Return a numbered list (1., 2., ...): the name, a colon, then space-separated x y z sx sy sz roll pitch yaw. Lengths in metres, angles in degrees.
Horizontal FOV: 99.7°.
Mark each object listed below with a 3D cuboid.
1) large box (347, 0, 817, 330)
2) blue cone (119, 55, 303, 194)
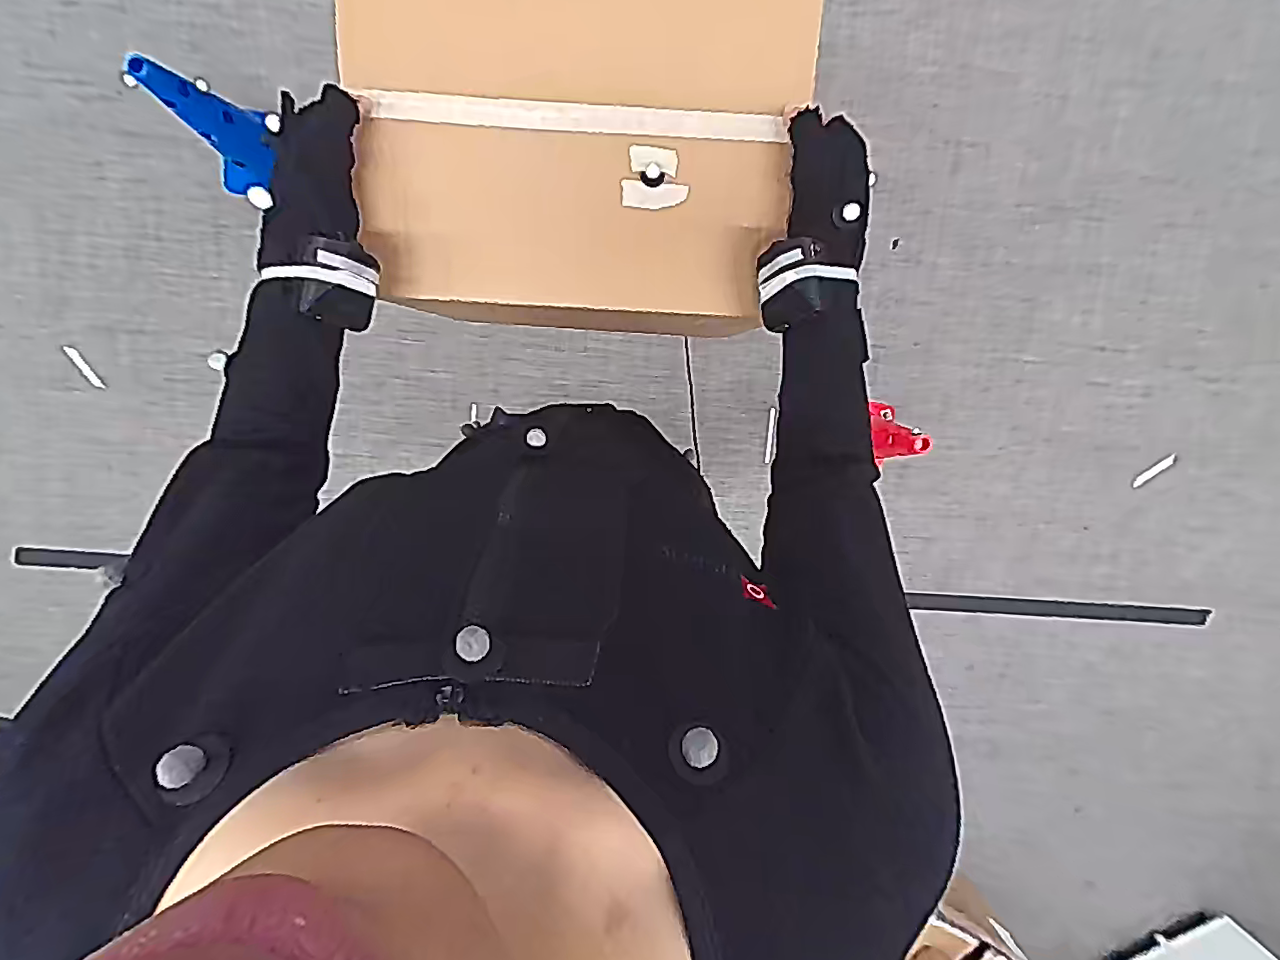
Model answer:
1. large box: -0.056 -0.349 0.619 0.408 0.320 0.320 3 102 -3
2. blue cone: -0.937 -0.794 1.184 0.192 0.380 0.193 8 98 -1
